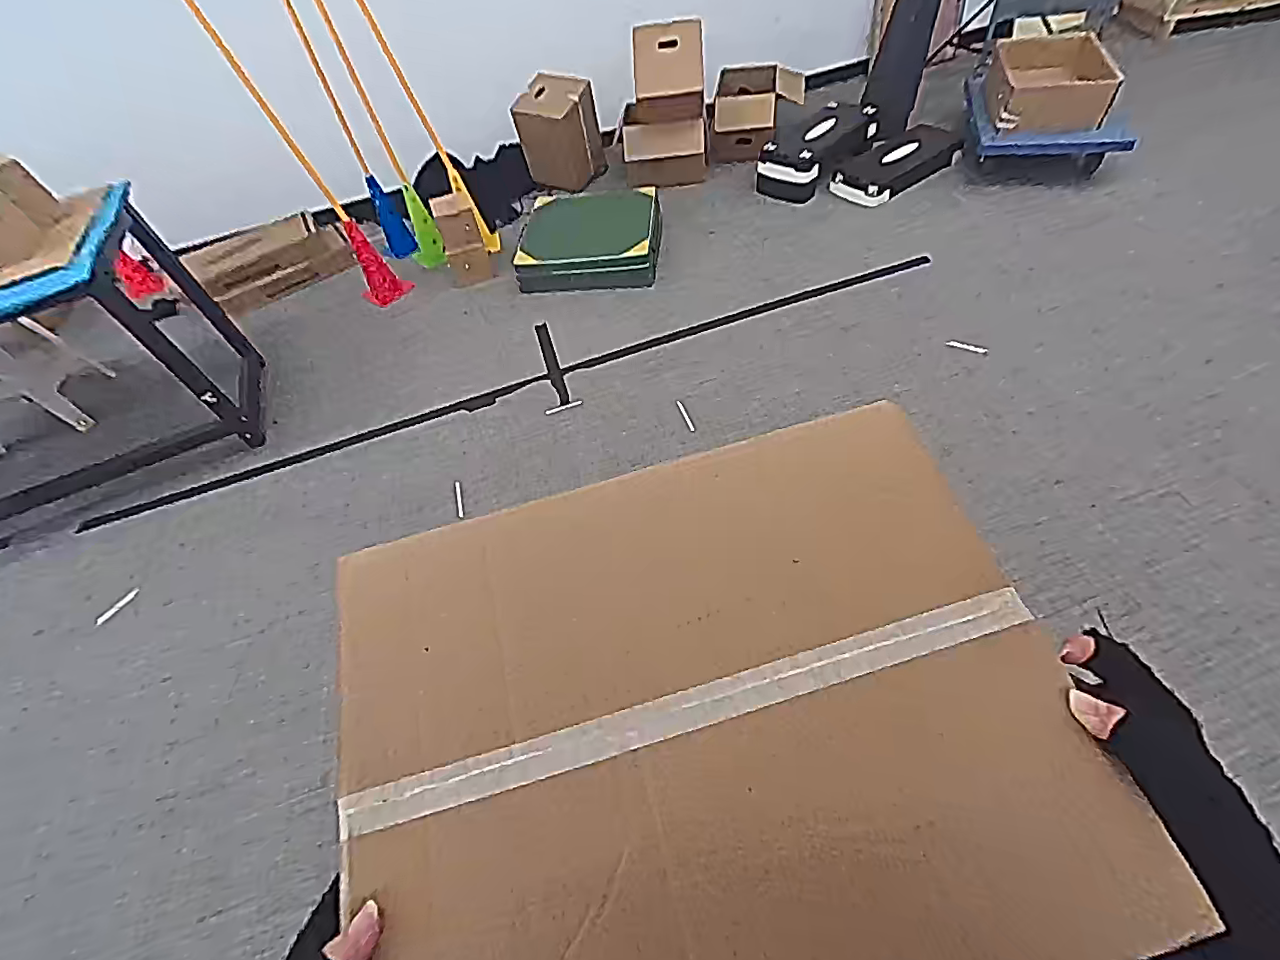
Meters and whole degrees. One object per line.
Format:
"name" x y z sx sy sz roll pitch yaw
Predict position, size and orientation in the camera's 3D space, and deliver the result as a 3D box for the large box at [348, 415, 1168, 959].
"large box" 0.043 0.203 0.450 0.408 0.320 0.320 -17 62 -3
